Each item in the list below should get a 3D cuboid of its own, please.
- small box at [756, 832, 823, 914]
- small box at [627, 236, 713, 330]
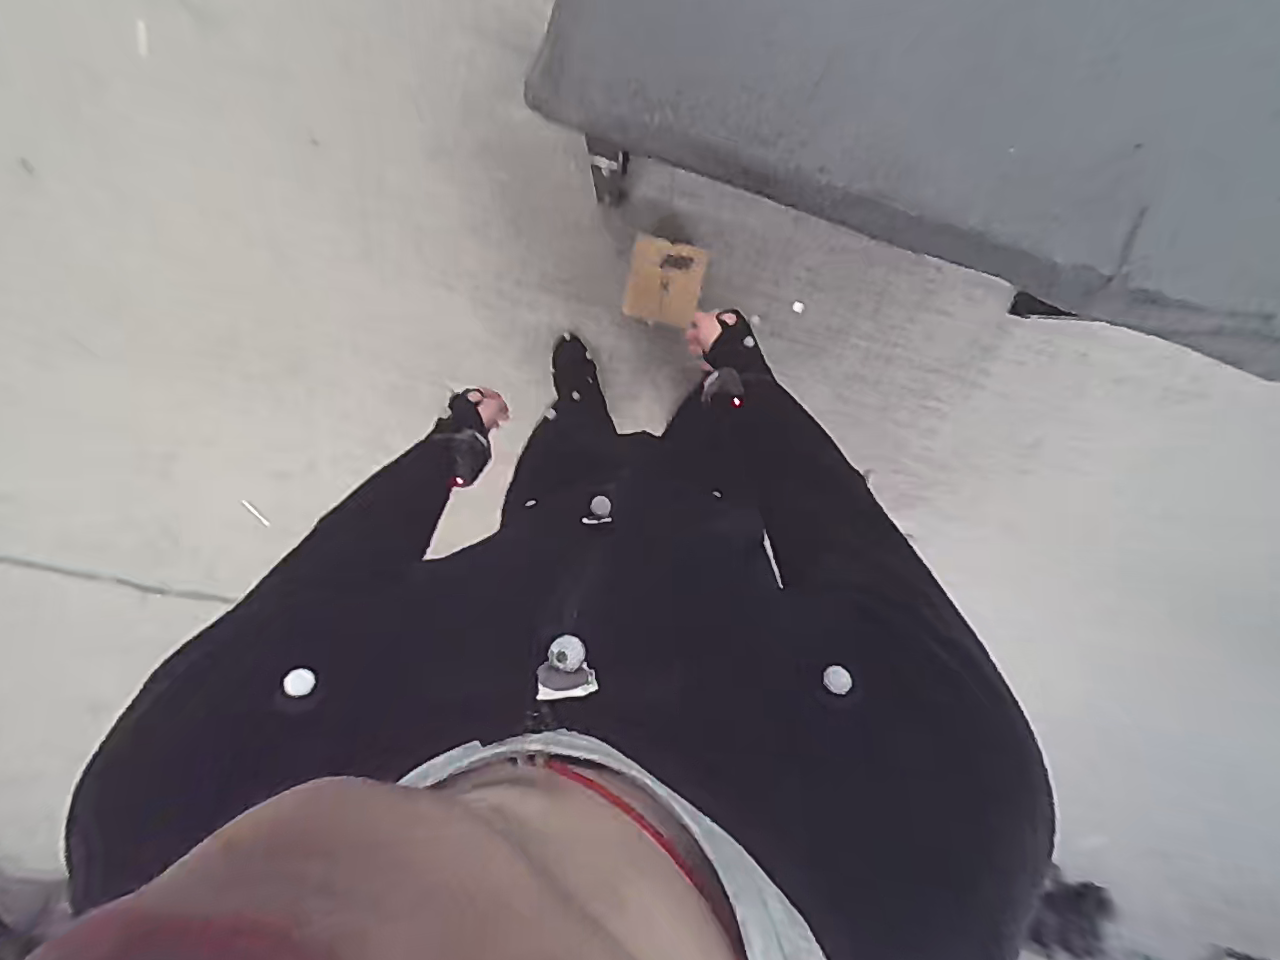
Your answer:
[{"bbox_3d":[0.530,1.407,1.945,0.168,0.176,0.179,10,109,-4],"label":"small box"},{"bbox_3d":[0.063,-0.471,1.301,0.168,0.176,0.179,11,109,-5],"label":"small box"}]
